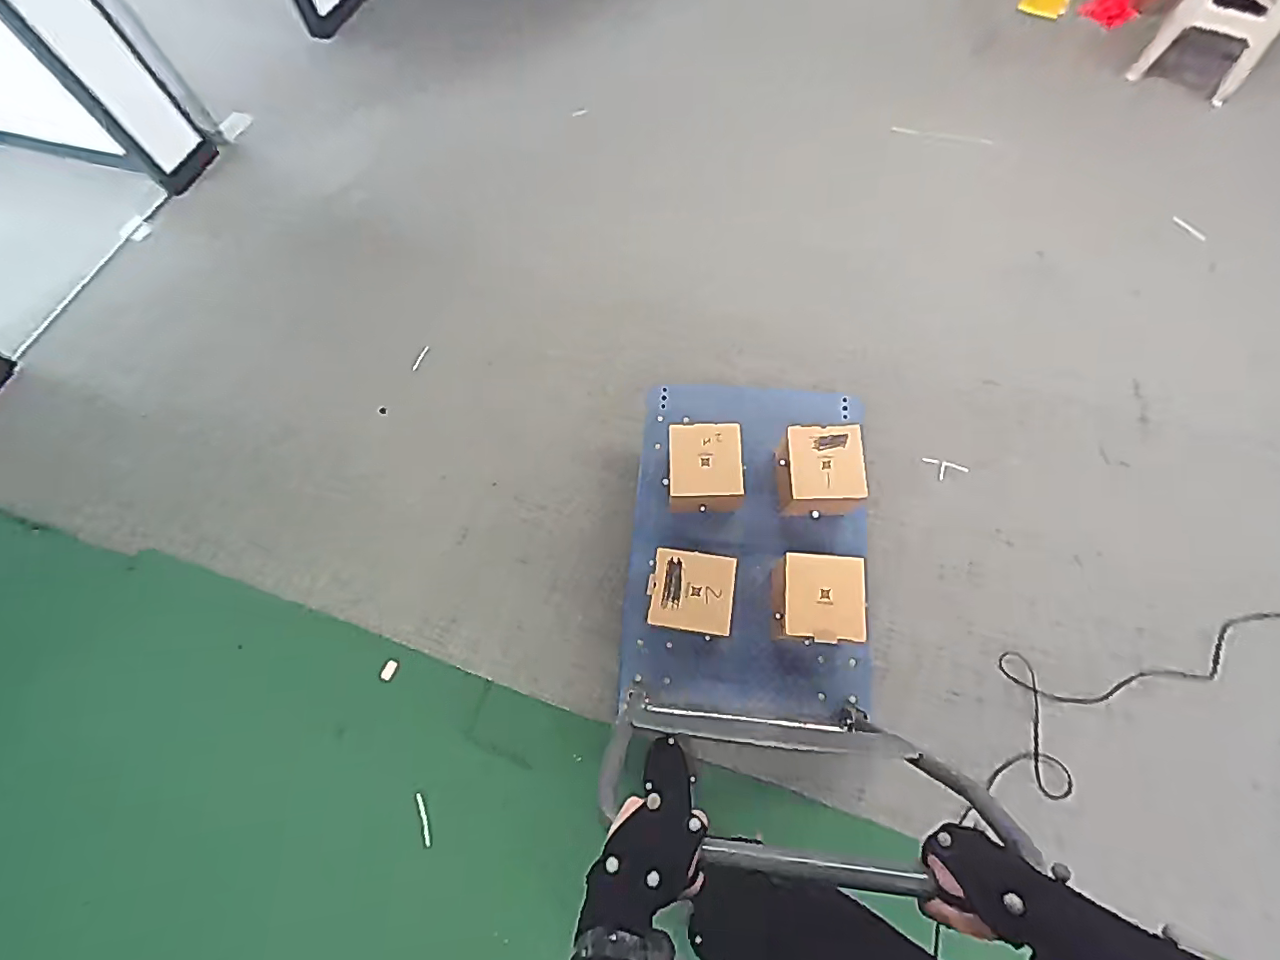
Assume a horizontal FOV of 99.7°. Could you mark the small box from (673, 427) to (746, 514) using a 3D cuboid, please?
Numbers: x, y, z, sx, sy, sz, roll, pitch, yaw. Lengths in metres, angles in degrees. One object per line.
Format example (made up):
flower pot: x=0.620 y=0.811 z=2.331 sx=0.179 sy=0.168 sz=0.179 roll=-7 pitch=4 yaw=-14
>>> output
small box: x=0.164 y=-0.017 z=1.306 sx=0.168 sy=0.176 sz=0.179 roll=0 pitch=73 yaw=3

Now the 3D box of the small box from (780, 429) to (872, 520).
small box: x=0.433 y=-0.009 z=1.287 sx=0.168 sy=0.176 sz=0.179 roll=0 pitch=74 yaw=4

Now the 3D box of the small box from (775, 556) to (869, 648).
small box: x=0.398 y=0.275 z=1.205 sx=0.168 sy=0.176 sz=0.179 roll=4 pitch=74 yaw=5
